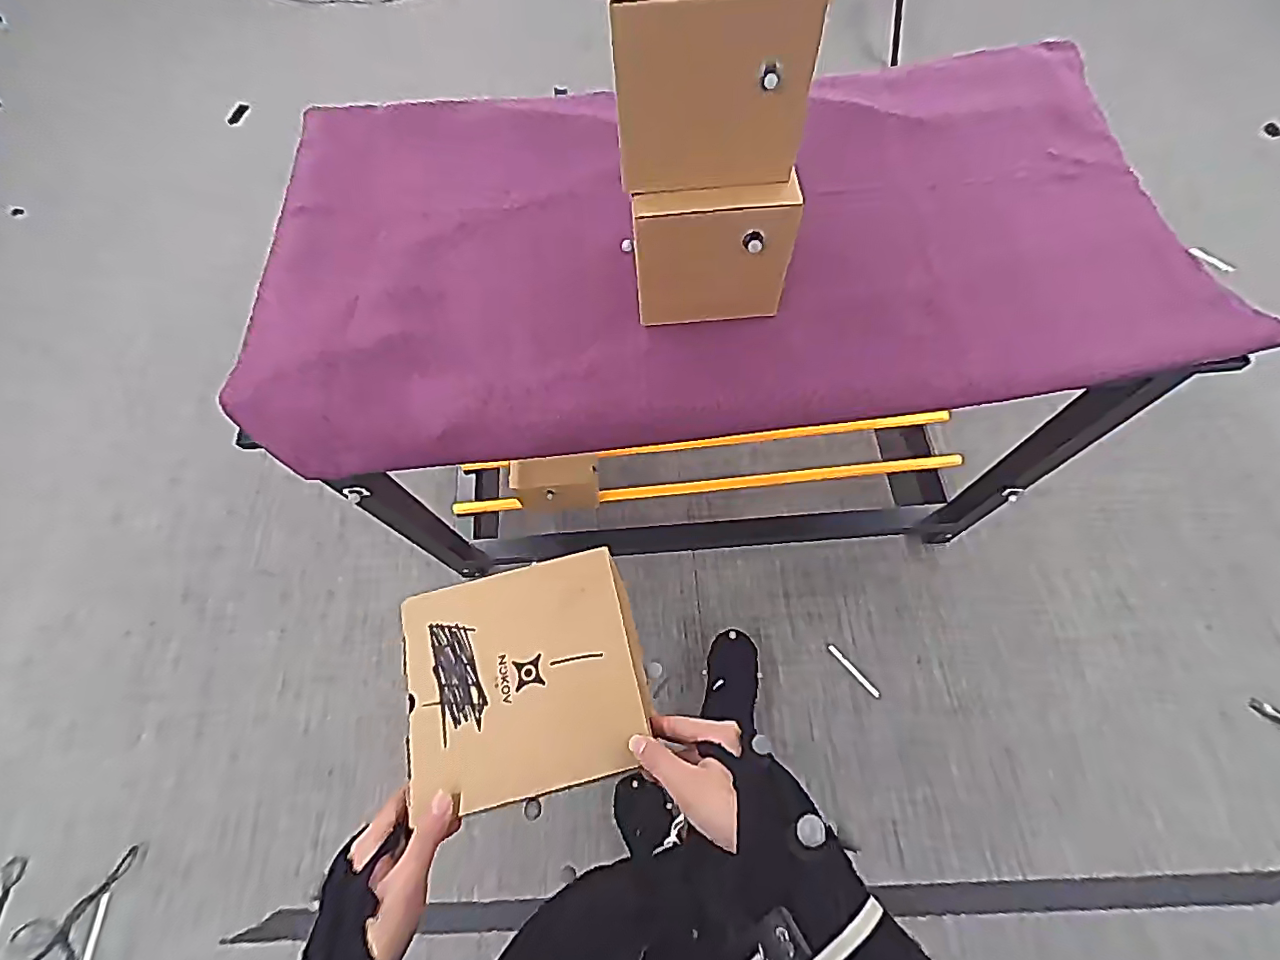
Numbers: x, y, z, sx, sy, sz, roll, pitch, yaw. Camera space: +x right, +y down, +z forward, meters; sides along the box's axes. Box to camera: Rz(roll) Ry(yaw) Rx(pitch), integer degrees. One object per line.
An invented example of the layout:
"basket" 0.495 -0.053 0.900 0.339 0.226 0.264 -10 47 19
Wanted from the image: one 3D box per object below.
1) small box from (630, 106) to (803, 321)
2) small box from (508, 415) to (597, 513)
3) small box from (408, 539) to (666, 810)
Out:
"small box" 0.081 -0.314 0.659 0.179 0.176 0.168 -4 64 1
"small box" -0.193 -0.032 1.229 0.179 0.176 0.168 -5 68 1
"small box" -0.081 0.175 0.476 0.179 0.176 0.168 -14 62 -3
